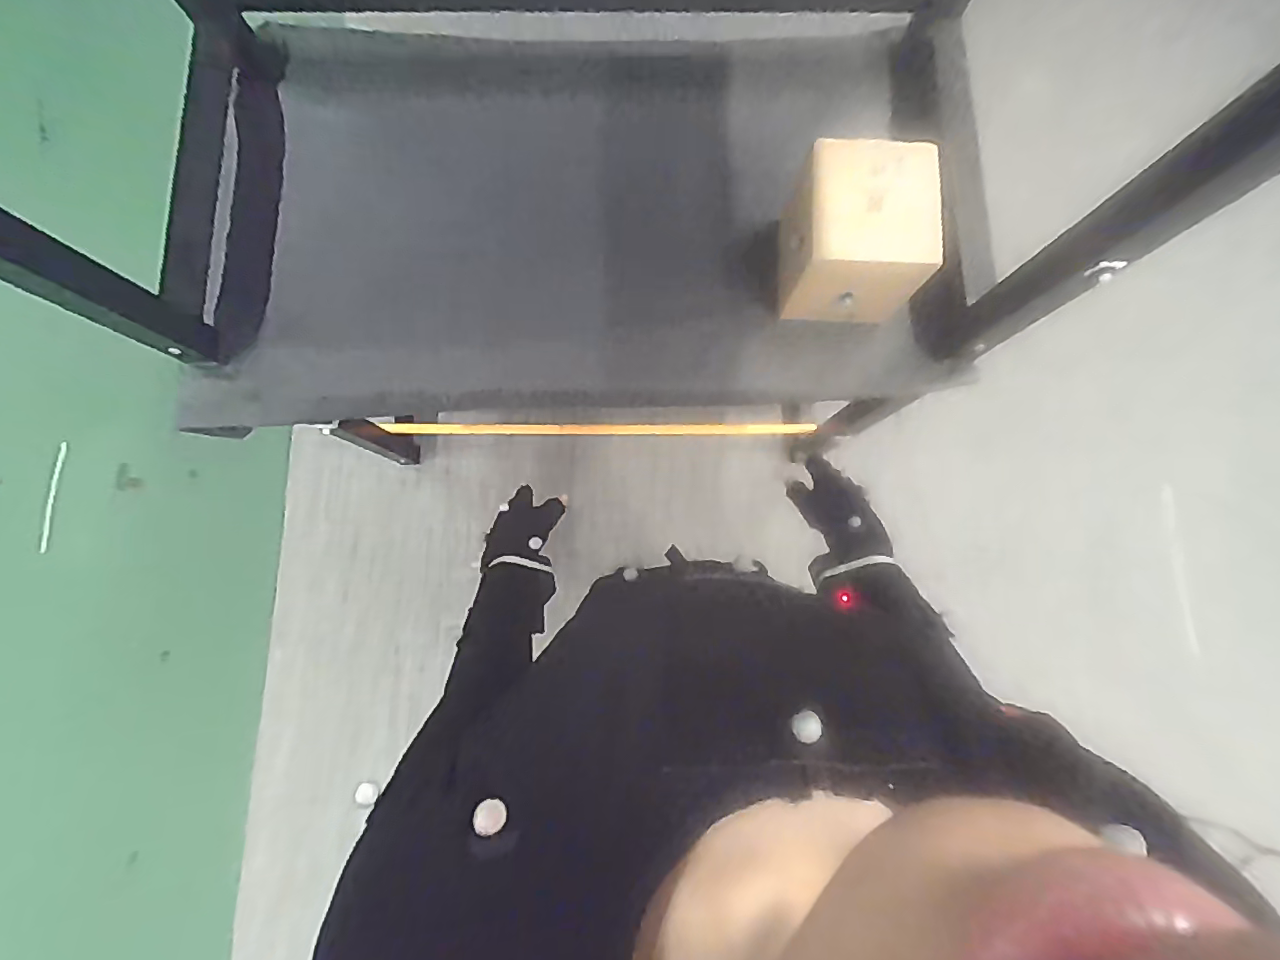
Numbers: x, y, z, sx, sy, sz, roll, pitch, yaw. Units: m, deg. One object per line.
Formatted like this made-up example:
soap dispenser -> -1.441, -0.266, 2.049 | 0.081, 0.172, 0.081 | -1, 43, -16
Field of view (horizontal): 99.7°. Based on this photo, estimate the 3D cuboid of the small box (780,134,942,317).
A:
small box -> 0.303, -0.349, 0.771 | 0.168, 0.176, 0.179 | 3, 80, 0
